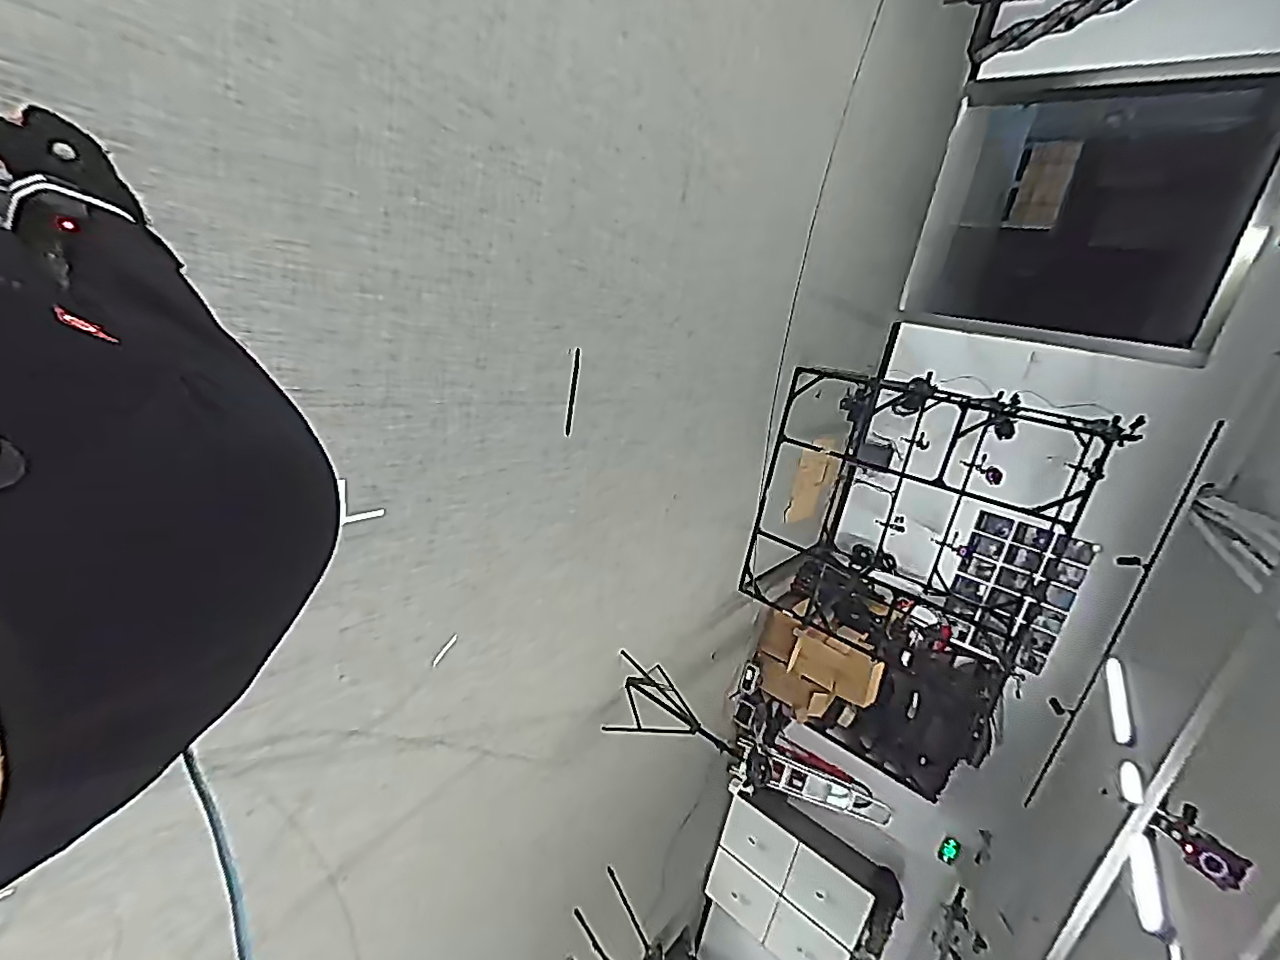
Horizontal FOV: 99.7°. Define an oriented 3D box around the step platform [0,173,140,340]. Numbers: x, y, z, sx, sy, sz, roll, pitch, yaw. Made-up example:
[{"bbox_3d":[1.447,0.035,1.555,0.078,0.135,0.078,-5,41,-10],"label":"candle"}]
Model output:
[{"bbox_3d":[-1.279,-0.397,0.880,0.684,0.204,0.286,-14,120,-52],"label":"step platform"}]
